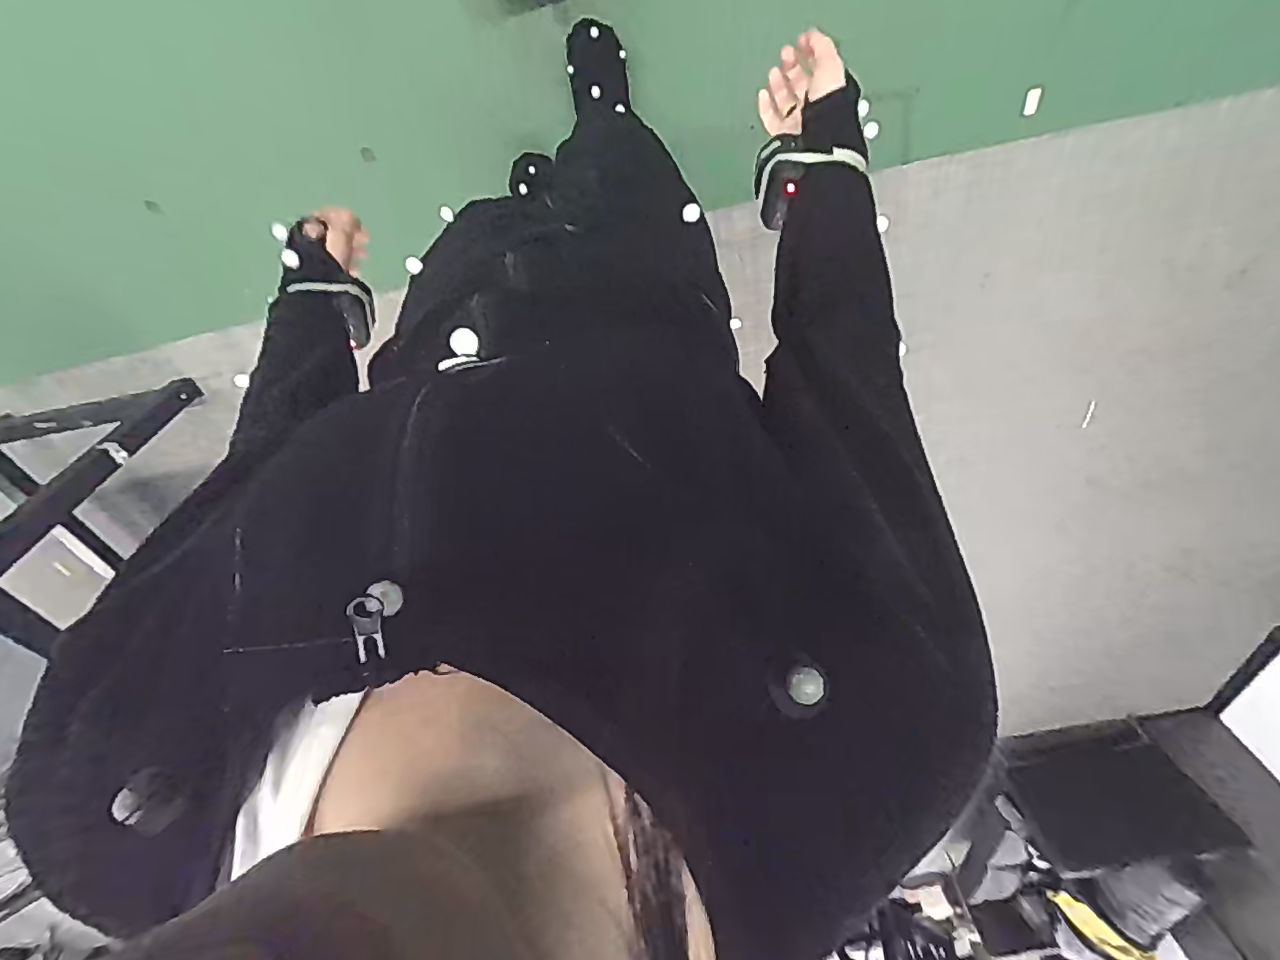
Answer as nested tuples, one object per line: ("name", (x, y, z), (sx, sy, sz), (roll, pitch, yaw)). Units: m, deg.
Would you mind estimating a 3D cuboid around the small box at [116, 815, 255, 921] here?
("small box", (-1.131, 0.975, 1.363), (0.179, 0.176, 0.168), (-9, 130, 0))
